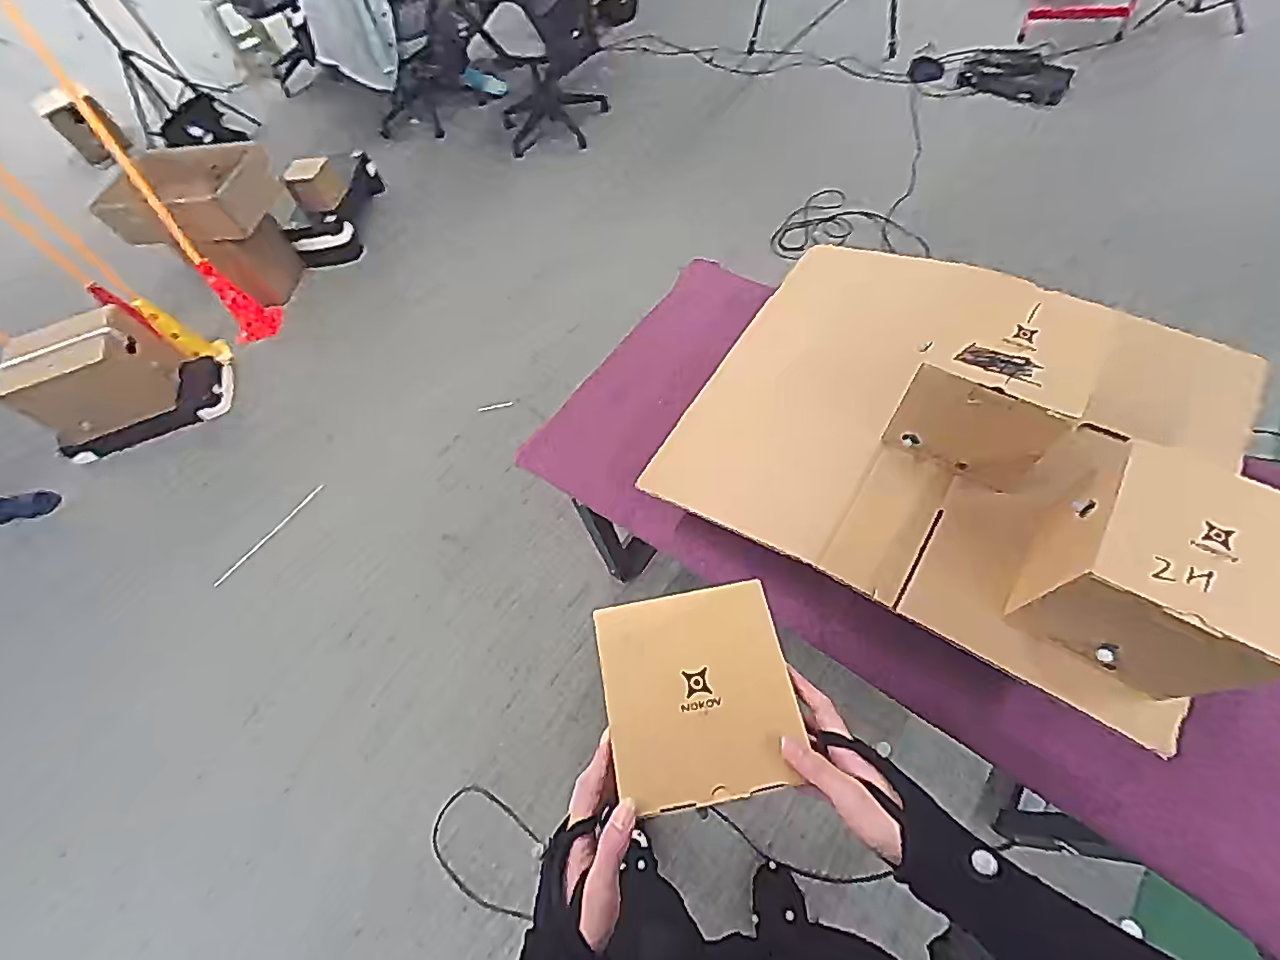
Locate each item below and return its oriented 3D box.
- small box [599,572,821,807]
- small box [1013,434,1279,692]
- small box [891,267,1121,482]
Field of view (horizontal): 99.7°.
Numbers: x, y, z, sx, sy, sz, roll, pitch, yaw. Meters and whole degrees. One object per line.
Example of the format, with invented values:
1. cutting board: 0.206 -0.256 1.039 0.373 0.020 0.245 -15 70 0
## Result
1. small box: 0.055 0.213 0.542 0.168 0.176 0.179 -10 61 -3
2. small box: 0.529 0.091 0.558 0.168 0.176 0.179 29 69 20
3. small box: 0.443 -0.126 0.684 0.168 0.176 0.179 29 68 19
